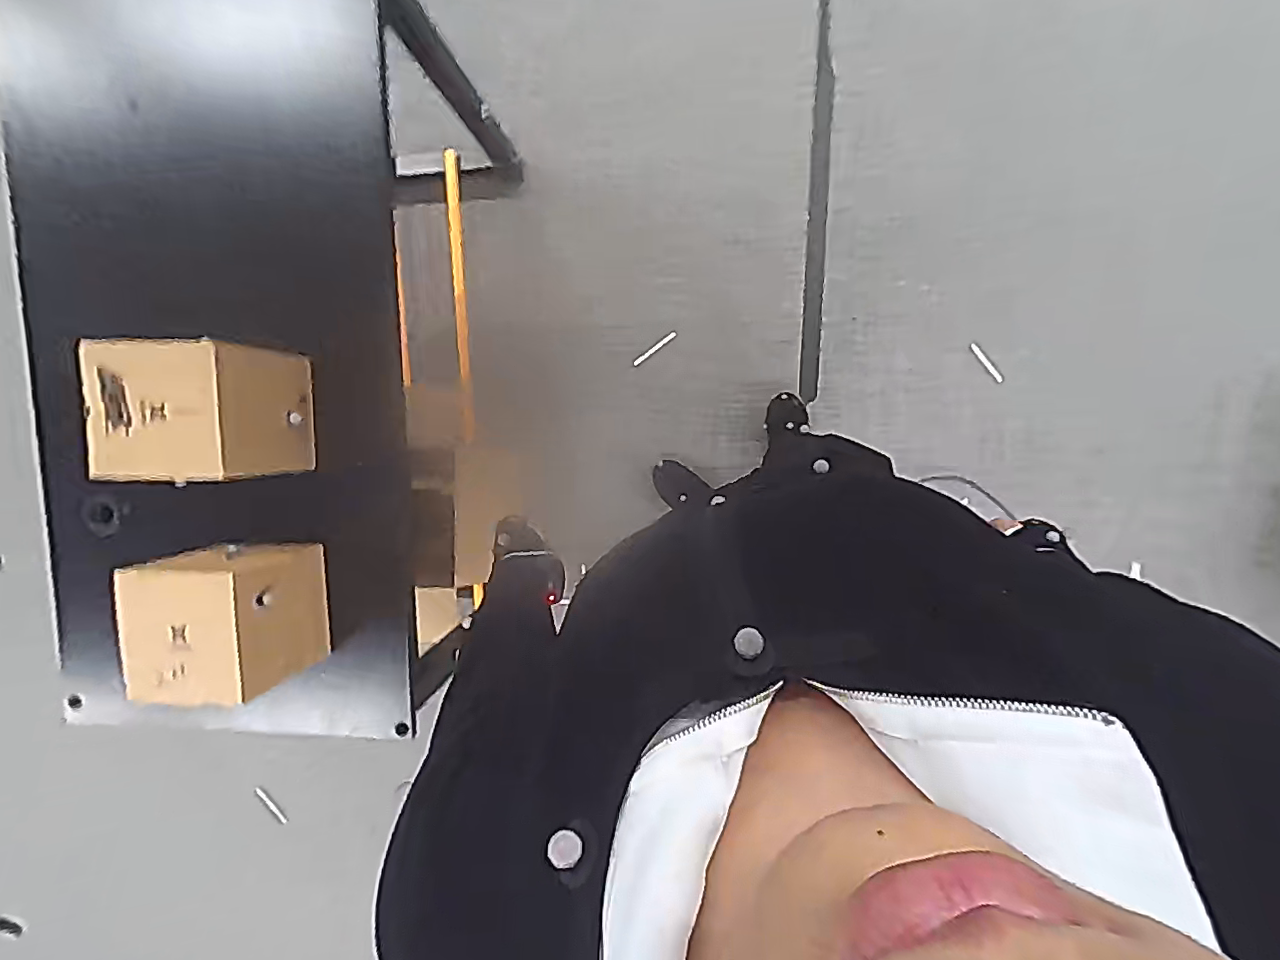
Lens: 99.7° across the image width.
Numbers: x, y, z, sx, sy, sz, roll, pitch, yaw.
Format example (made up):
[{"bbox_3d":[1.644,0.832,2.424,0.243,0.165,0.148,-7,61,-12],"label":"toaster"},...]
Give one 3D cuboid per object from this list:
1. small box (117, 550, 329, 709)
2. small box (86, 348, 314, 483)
[{"bbox_3d":[-0.572,0.198,0.764,0.168,0.176,0.179,-1,95,6],"label":"small box"},{"bbox_3d":[-0.585,-0.085,0.740,0.179,0.176,0.168,1,96,5],"label":"small box"}]
